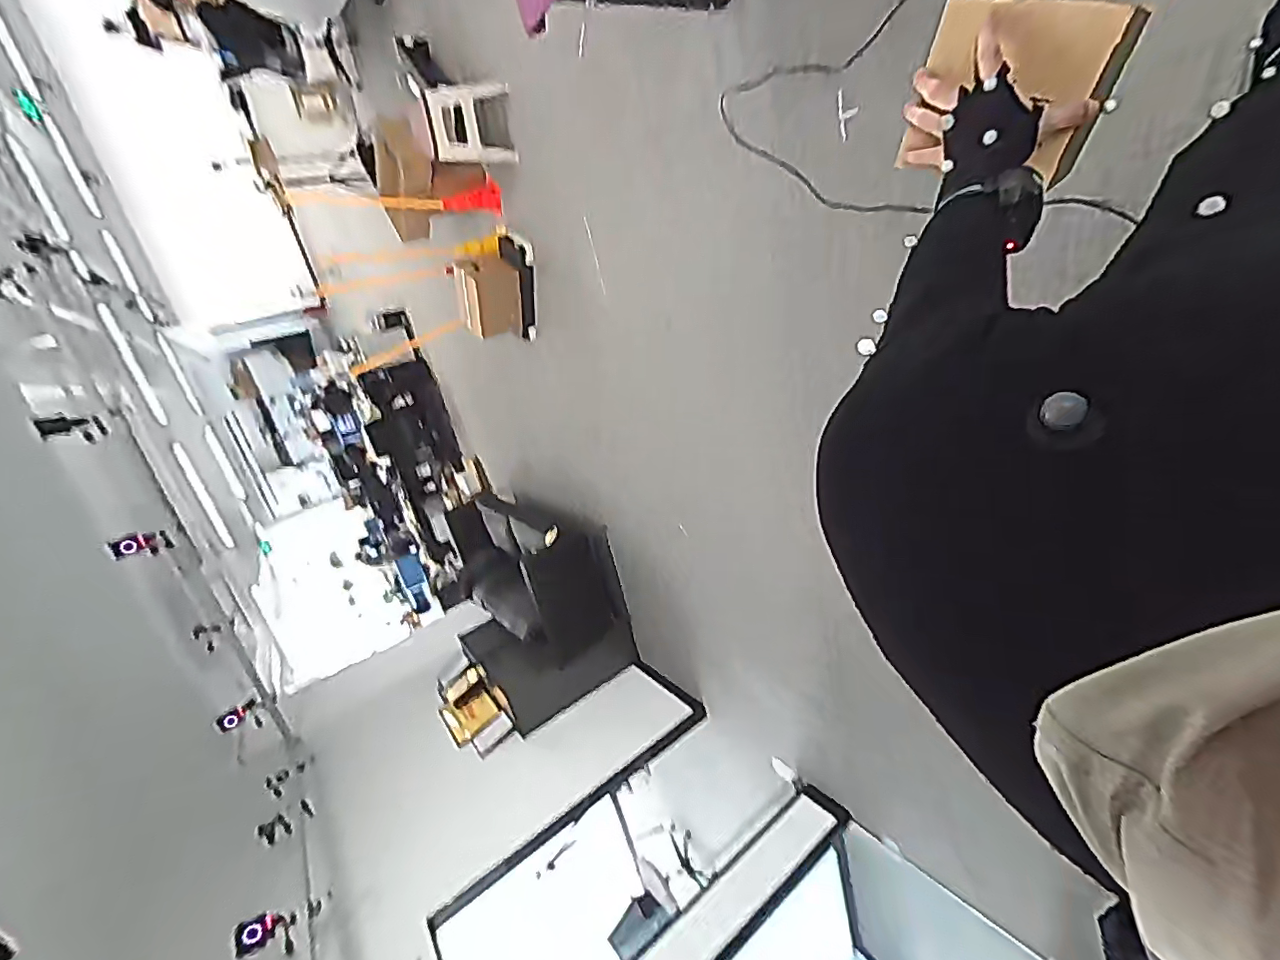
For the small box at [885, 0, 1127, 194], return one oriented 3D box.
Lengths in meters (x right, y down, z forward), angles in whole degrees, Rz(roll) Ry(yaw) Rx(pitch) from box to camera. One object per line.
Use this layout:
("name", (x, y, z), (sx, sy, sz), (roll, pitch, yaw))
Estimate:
("small box", (0.438, -0.466, 0.657), (0.179, 0.176, 0.168), (30, 138, 28))
